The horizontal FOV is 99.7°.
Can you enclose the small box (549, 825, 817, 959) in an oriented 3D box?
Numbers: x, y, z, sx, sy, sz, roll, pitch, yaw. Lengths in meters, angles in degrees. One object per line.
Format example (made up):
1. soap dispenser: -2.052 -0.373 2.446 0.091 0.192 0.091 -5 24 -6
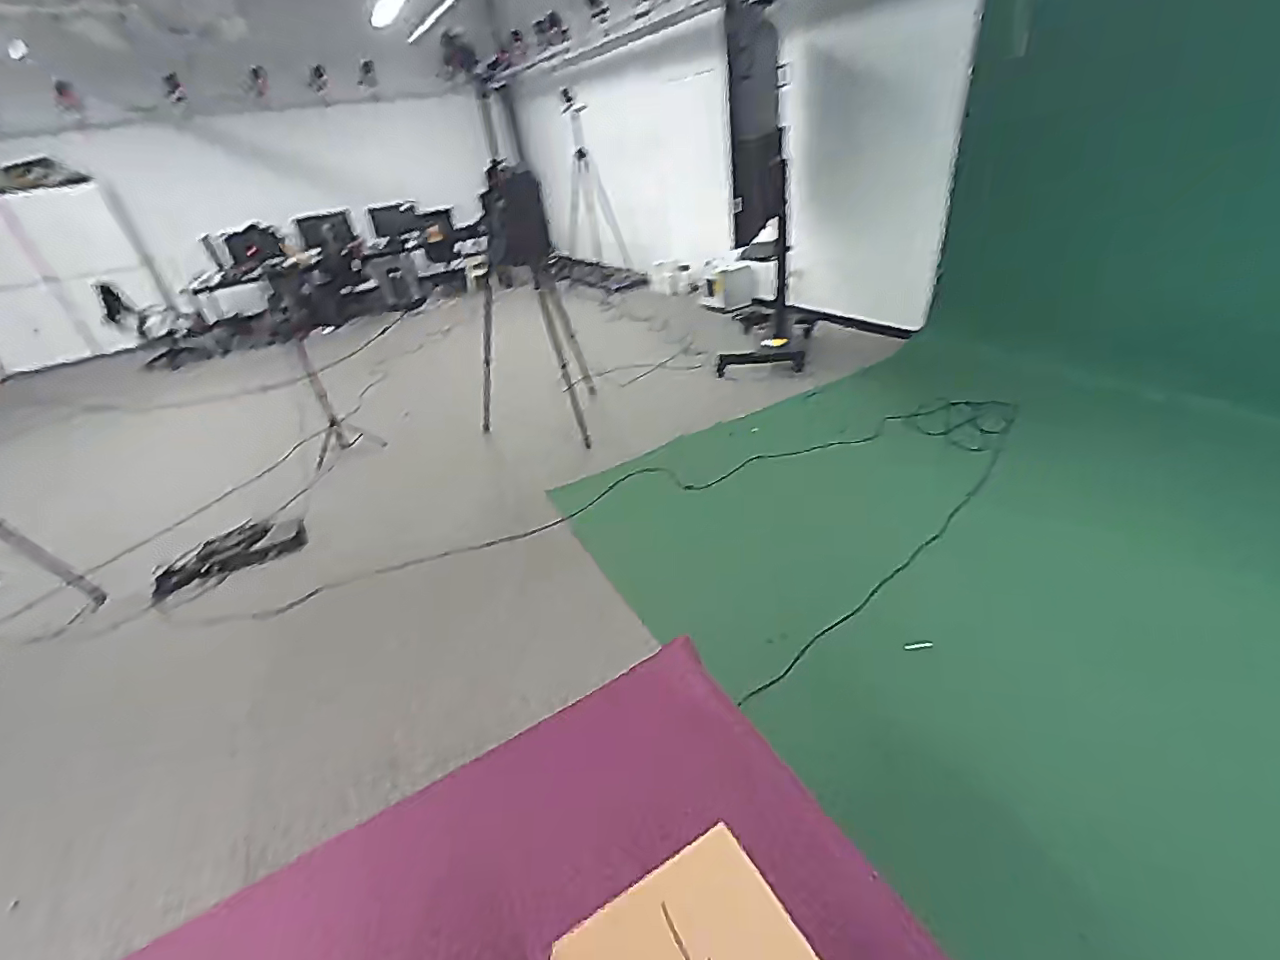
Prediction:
1. small box: 0.043 0.423 0.412 0.168 0.176 0.179 -17 38 -29
